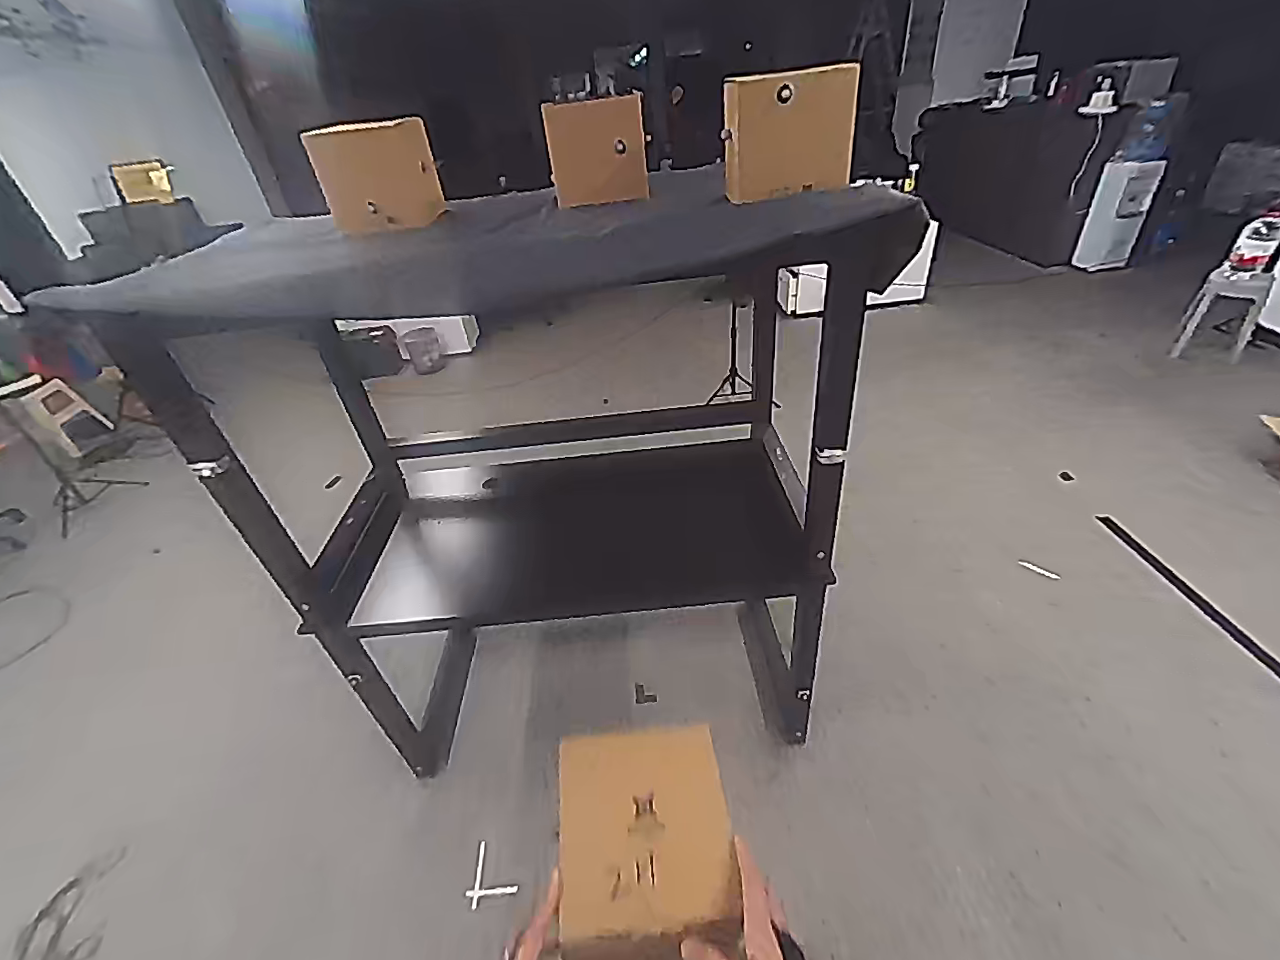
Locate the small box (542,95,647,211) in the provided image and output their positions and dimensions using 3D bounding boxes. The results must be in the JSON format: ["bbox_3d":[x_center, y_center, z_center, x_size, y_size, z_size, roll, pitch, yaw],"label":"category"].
[{"bbox_3d":[-0.077,-0.633,1.045,0.179,0.176,0.168,-5,35,3],"label":"small box"}]

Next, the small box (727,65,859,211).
[{"bbox_3d":[0.224,-0.525,0.840,0.168,0.176,0.179,-5,35,5],"label":"small box"}]
